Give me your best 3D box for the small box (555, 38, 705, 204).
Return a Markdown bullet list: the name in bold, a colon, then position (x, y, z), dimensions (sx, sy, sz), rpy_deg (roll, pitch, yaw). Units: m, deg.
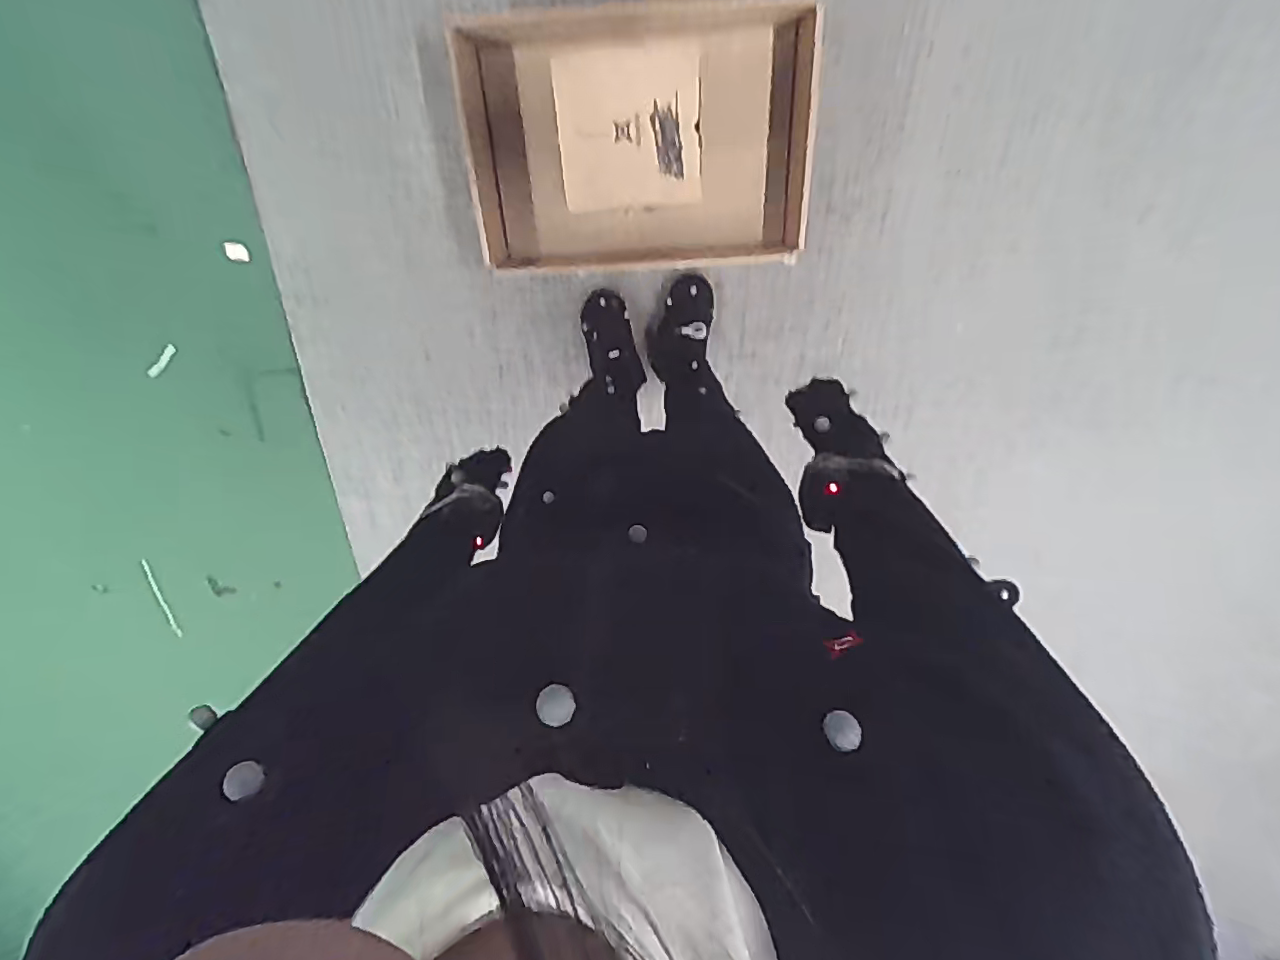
- **small box**: position (-0.008, -0.473, 0.730), dimensions (0.179, 0.176, 0.168), rpy_deg (-3, 119, 3)
